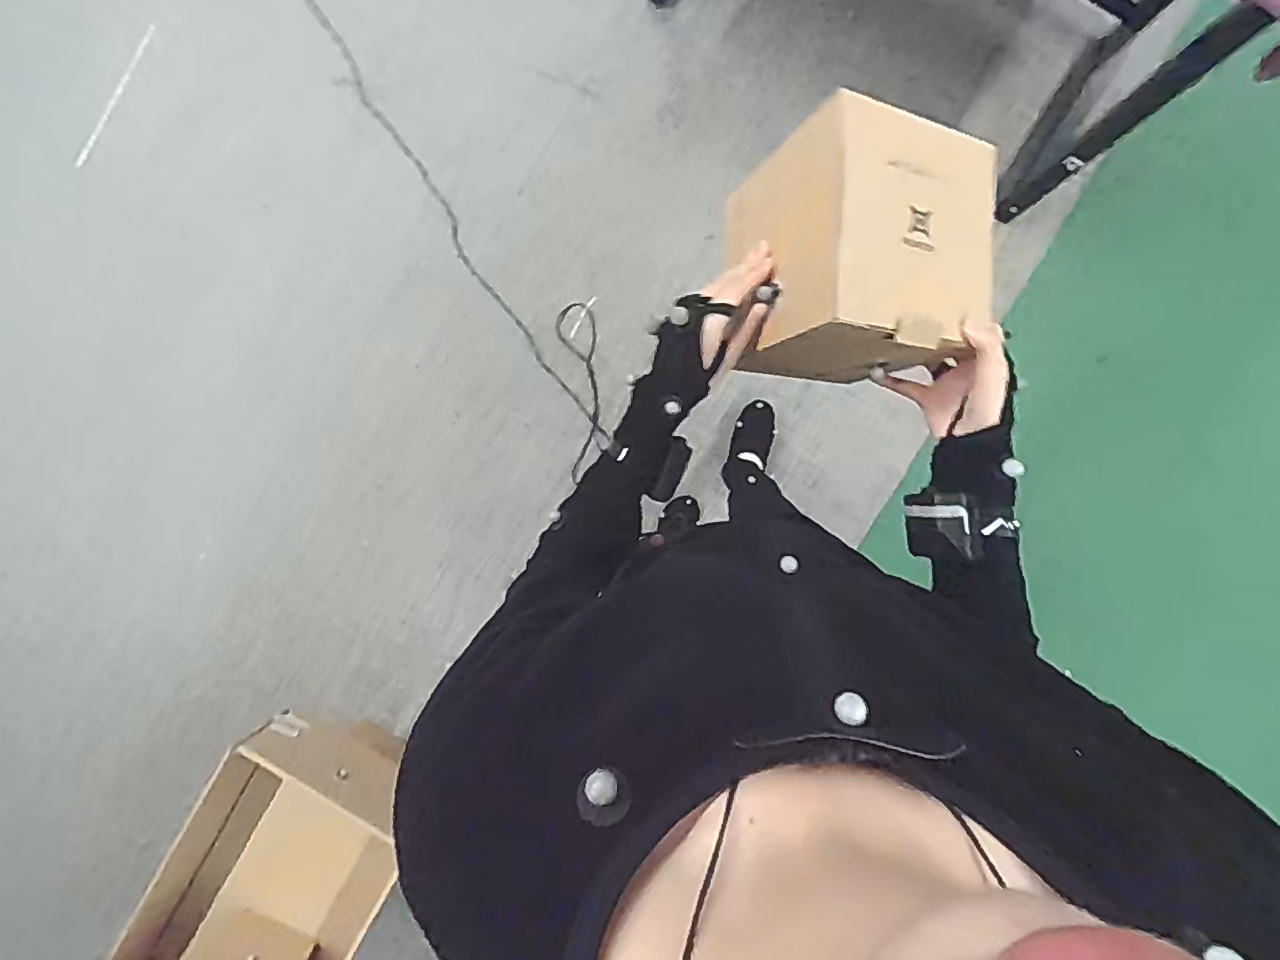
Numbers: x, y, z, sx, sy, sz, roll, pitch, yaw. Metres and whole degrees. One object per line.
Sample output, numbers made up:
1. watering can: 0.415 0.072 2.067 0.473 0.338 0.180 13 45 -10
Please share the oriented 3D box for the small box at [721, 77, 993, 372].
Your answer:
1. small box: 0.187 -0.206 0.498 0.168 0.176 0.179 3 88 -22
